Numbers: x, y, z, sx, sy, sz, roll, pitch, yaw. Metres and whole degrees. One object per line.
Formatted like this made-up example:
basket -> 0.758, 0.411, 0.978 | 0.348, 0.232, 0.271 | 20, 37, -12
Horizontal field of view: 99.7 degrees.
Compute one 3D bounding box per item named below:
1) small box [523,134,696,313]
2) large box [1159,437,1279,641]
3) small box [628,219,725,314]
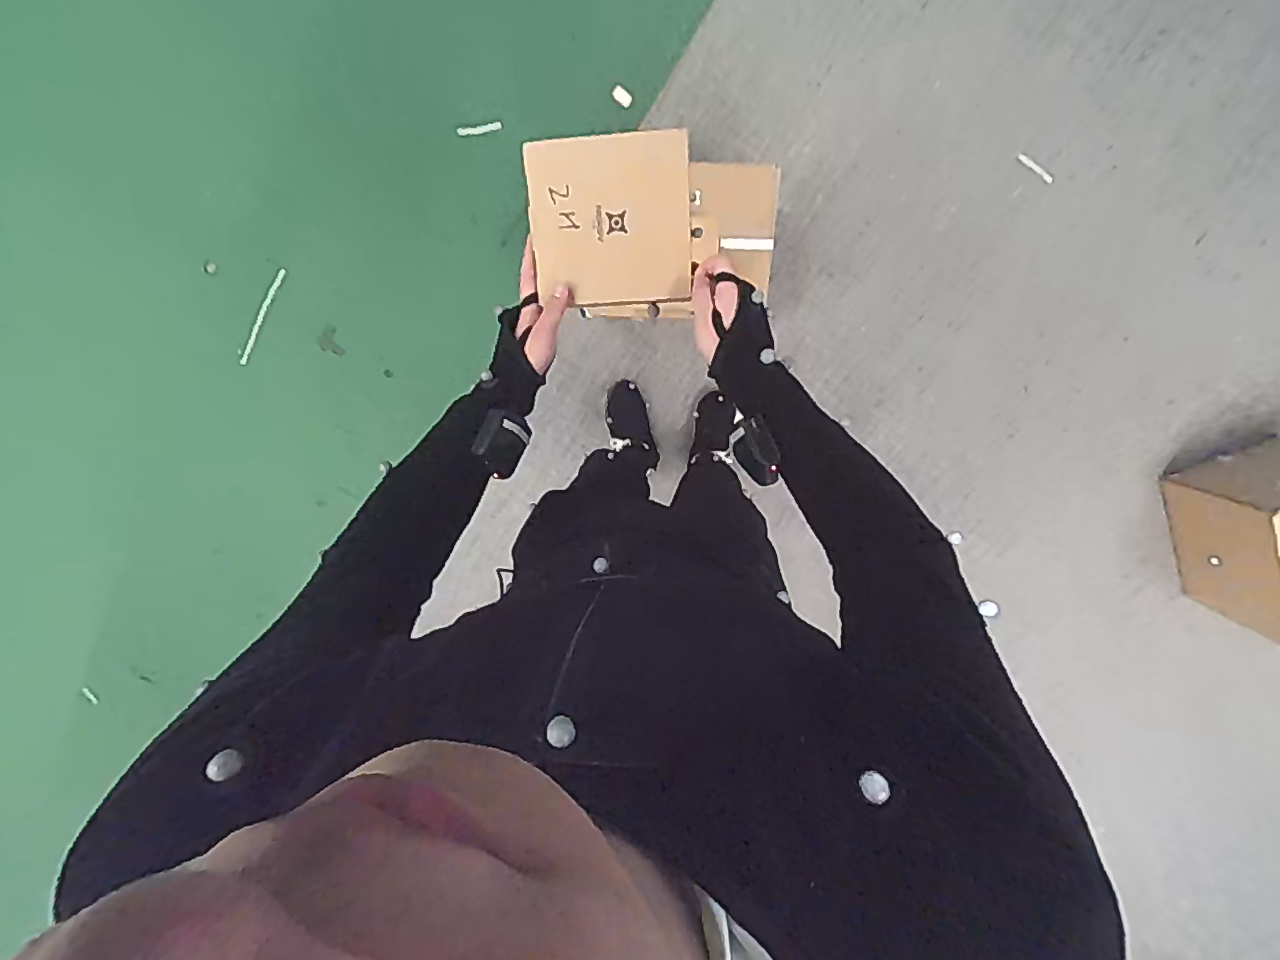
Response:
small box -> -0.024, -0.292, 0.645 | 0.179, 0.176, 0.168 | -2, 108, 6
large box -> 1.671, 0.151, 1.398 | 0.320, 0.320, 0.408 | -24, 102, 9
small box -> 0.069, -0.421, 1.079 | 0.179, 0.176, 0.168 | 3, 107, 3
